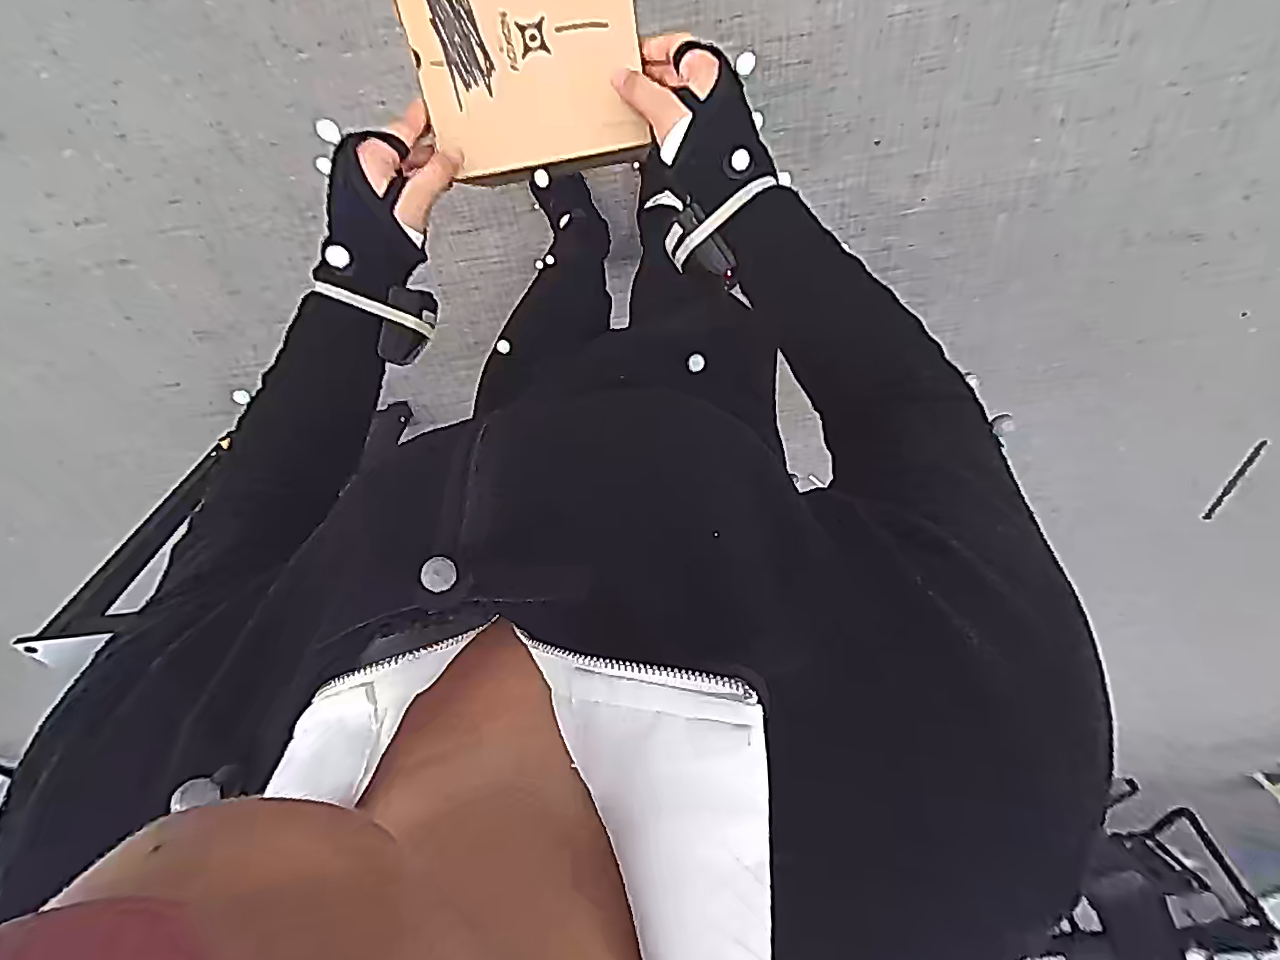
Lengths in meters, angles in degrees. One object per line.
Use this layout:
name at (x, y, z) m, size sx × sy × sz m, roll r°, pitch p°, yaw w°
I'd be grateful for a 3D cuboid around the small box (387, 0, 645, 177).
small box at (-0.093, -0.368, 0.467) m, size 0.179 × 0.176 × 0.168 m, roll -9°, pitch 118°, yaw 2°

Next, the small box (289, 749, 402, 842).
small box at (-0.747, 0.808, 1.393) m, size 0.168 × 0.176 × 0.179 m, roll -6°, pitch 132°, yaw 5°
